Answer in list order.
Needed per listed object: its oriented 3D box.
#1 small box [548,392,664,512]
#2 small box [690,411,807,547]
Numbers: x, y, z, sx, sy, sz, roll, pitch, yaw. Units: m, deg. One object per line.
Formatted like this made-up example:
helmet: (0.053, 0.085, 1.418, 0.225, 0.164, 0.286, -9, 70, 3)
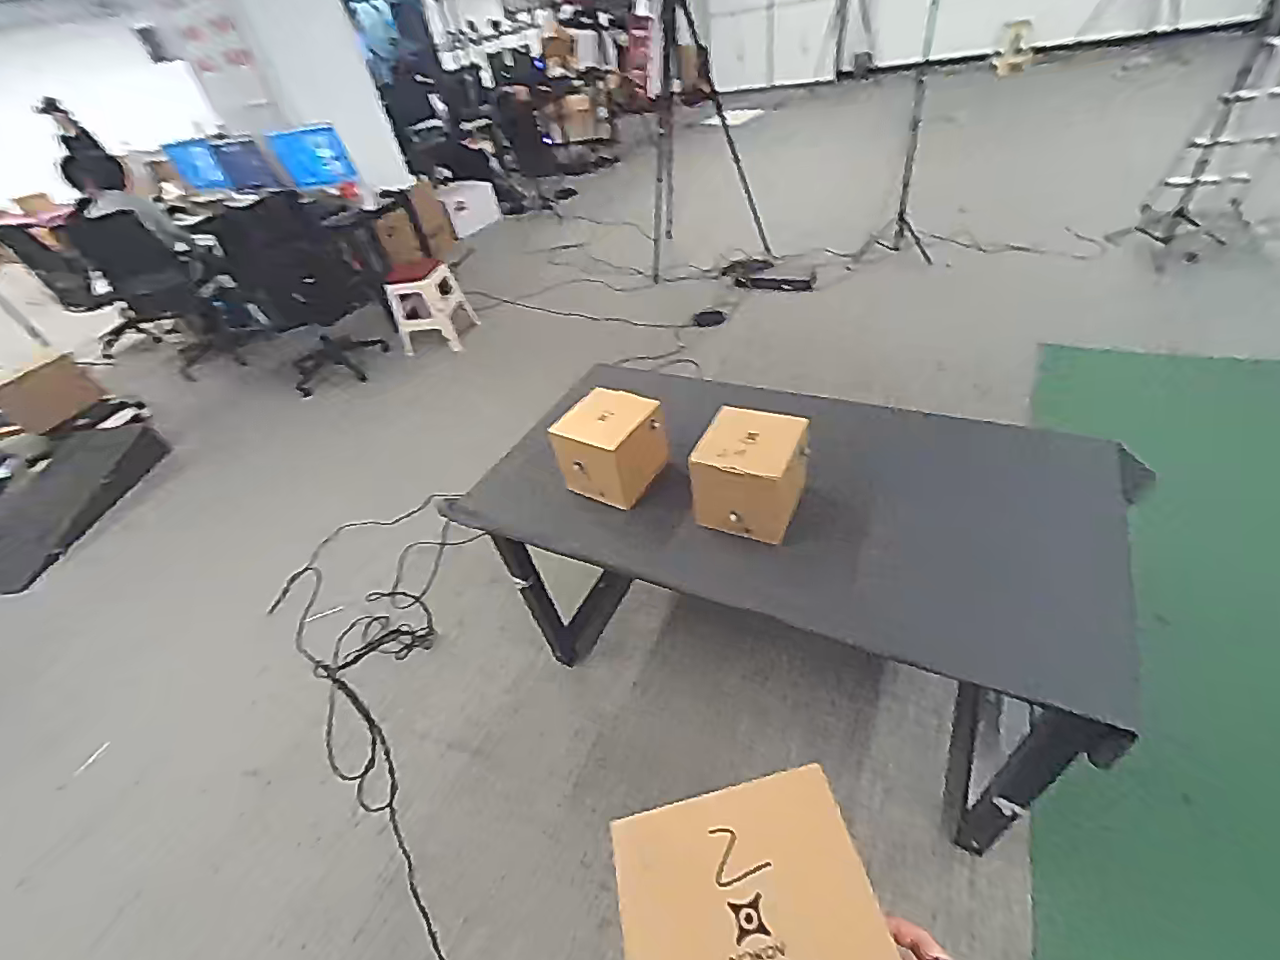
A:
small box: (-0.062, -0.060, 1.152, 0.168, 0.176, 0.179, 18, 48, 29)
small box: (0.207, -0.004, 1.025, 0.168, 0.176, 0.179, 13, 47, 26)
